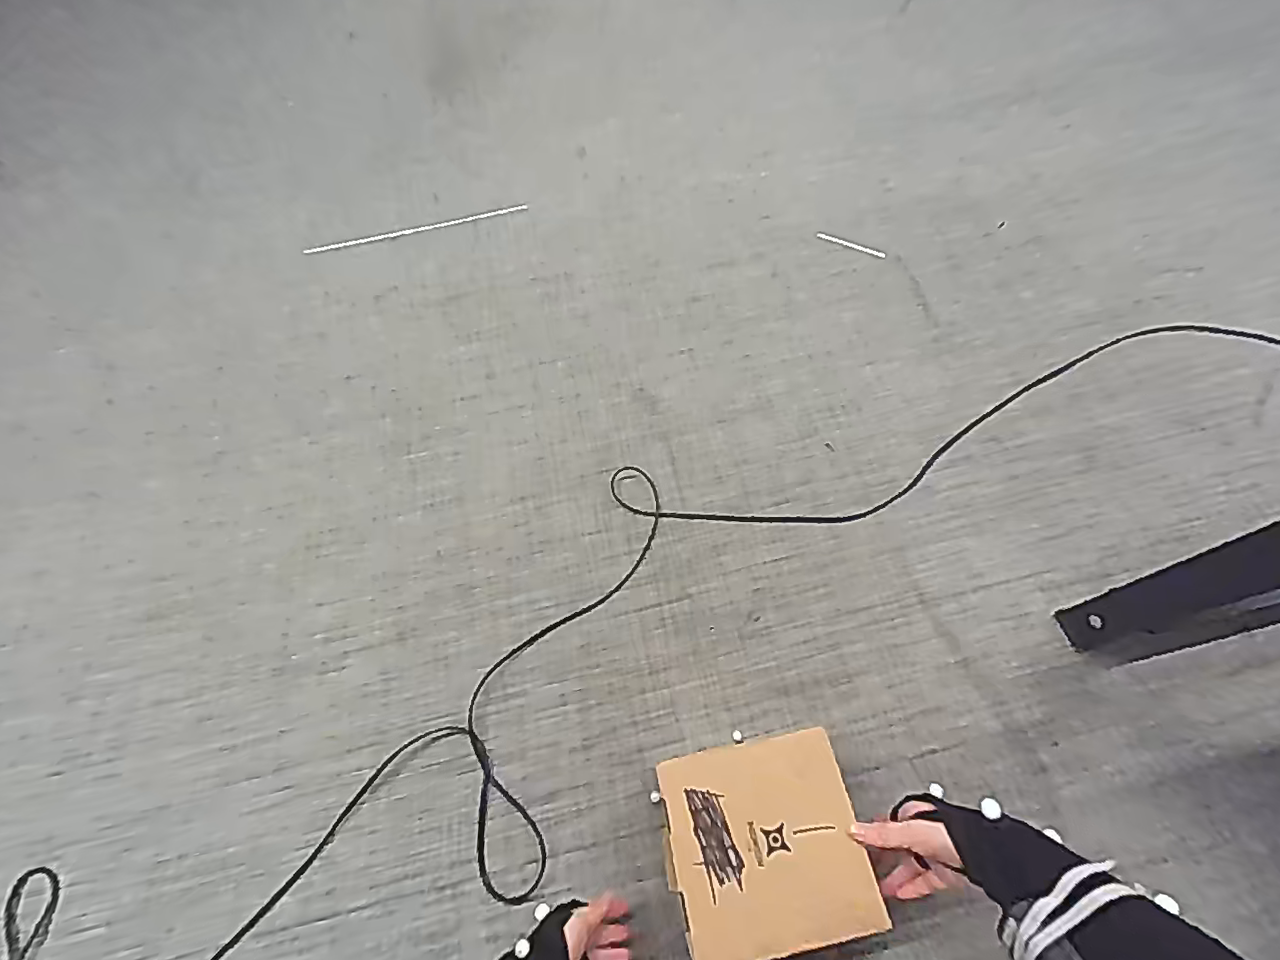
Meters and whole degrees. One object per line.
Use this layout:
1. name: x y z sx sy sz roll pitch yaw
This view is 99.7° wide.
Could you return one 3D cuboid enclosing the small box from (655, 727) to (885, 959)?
1. small box: 0.118 0.372 0.570 0.179 0.176 0.168 -11 62 -5
